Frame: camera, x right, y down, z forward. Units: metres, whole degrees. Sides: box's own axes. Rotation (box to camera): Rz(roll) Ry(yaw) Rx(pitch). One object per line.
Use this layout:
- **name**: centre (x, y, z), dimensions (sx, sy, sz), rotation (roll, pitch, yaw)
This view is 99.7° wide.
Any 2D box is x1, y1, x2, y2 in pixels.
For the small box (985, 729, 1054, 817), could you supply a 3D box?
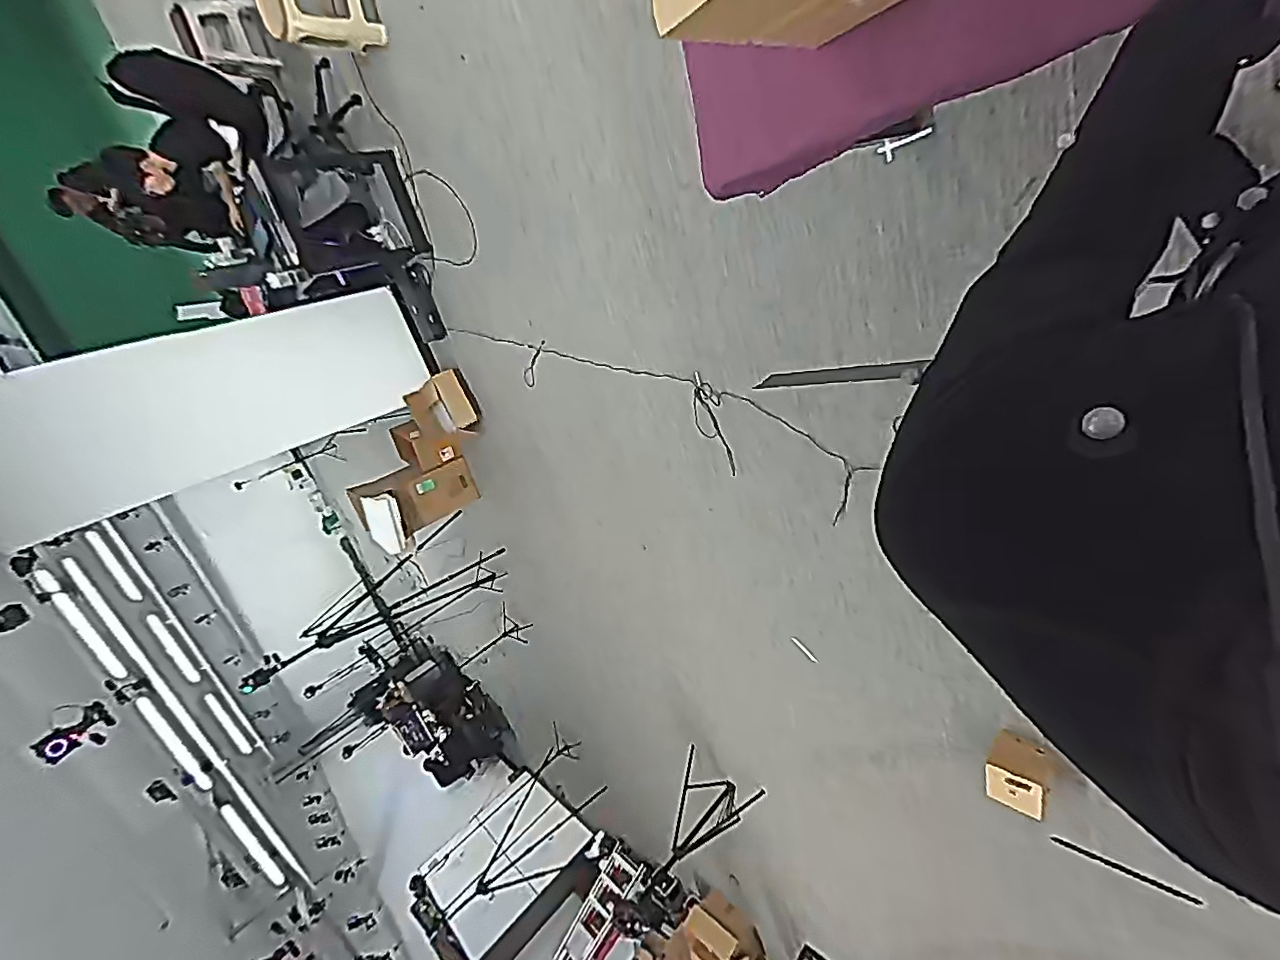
- **small box**: centre (1.326, 1.015, 1.889), dimensions (0.168, 0.176, 0.179), rotation (10, 124, 48)

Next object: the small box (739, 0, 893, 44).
- **small box**: centre (0.227, -0.657, 0.643), dimensions (0.179, 0.176, 0.168), rotation (8, 122, 47)
